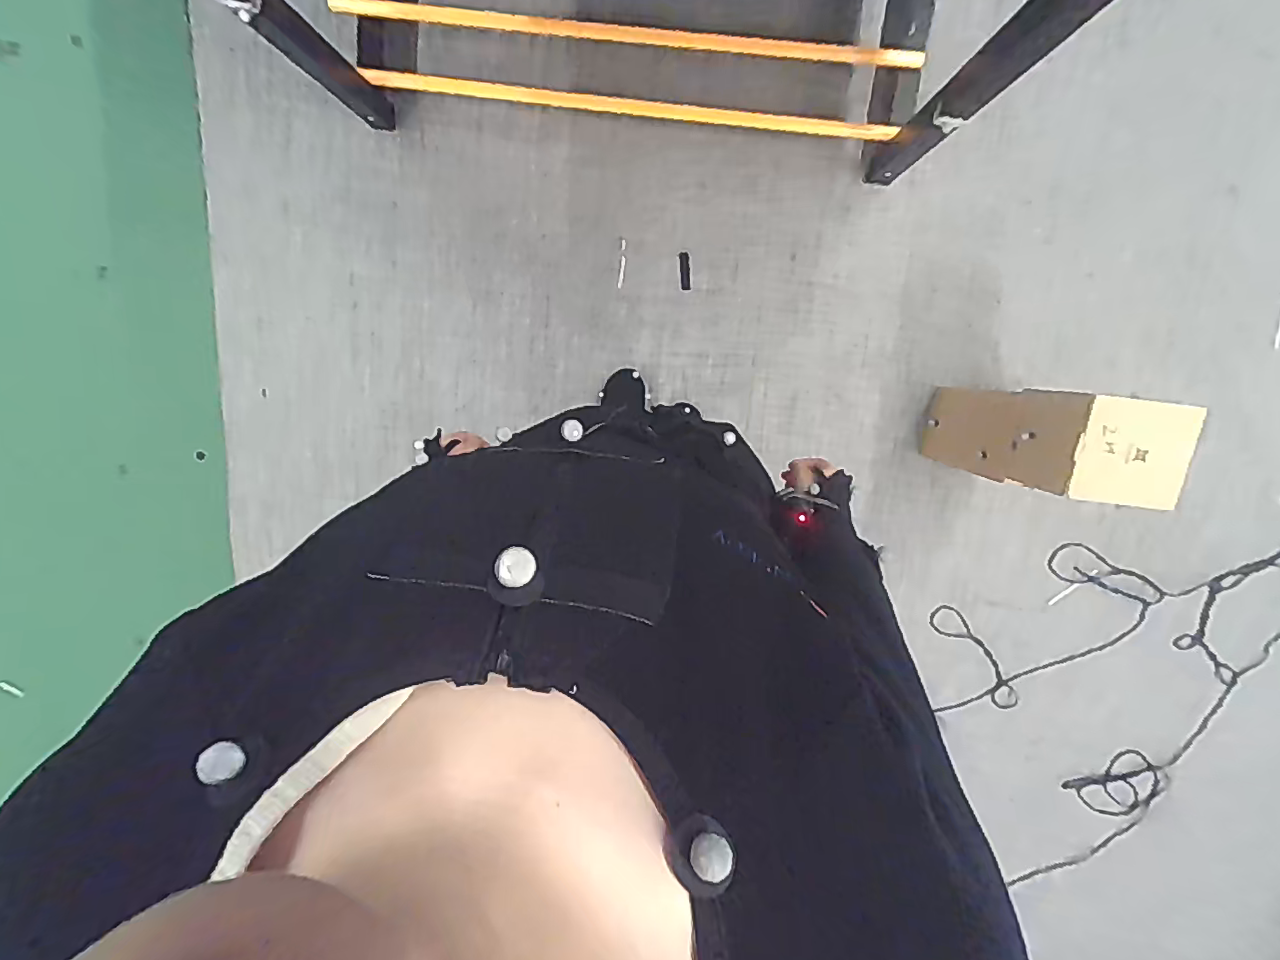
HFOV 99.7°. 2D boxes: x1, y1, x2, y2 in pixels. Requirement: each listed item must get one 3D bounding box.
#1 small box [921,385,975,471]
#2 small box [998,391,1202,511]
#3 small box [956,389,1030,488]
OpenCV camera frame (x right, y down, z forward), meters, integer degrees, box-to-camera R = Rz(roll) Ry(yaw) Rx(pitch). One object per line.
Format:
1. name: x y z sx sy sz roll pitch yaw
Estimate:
1. small box: 0.772 -0.115 1.235 0.168 0.176 0.179 8 103 0
2. small box: 0.758 -0.057 0.913 0.179 0.176 0.168 7 102 0
3. small box: 0.763 -0.084 1.075 0.168 0.176 0.179 6 101 0
